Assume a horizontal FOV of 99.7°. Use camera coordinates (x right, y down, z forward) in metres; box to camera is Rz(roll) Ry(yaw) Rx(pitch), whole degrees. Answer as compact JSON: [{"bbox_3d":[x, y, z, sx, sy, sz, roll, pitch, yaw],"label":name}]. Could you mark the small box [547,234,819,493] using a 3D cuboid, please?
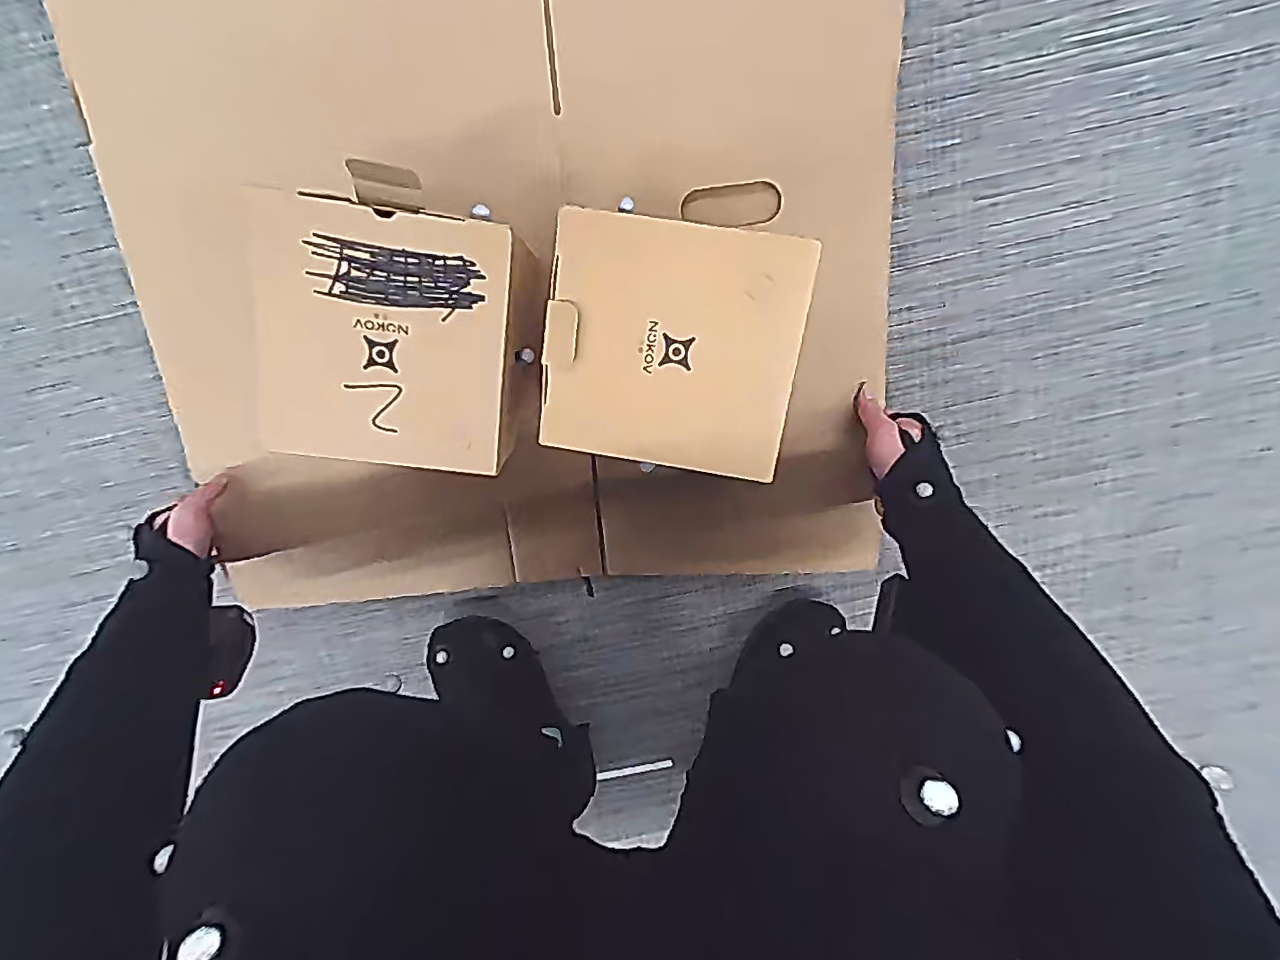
[{"bbox_3d":[0.034,-0.102,0.463,0.179,0.176,0.168,9,107,5],"label":"small box"}]
